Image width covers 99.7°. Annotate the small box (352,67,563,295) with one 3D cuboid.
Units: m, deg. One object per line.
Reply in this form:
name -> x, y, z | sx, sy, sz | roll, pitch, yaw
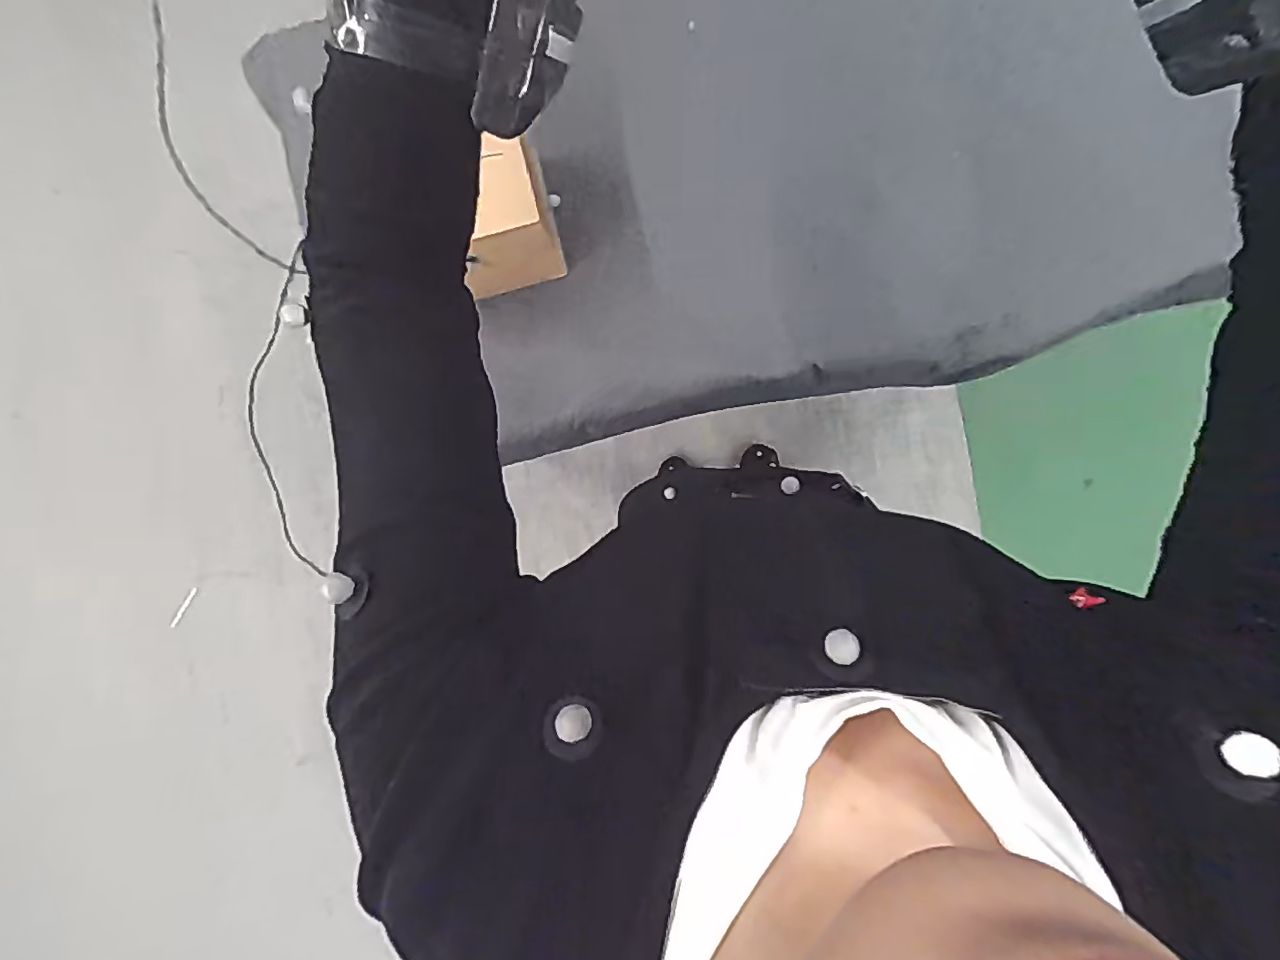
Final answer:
small box -> -0.207, -0.345, 0.662 | 0.179, 0.176, 0.168 | -14, 92, 2
